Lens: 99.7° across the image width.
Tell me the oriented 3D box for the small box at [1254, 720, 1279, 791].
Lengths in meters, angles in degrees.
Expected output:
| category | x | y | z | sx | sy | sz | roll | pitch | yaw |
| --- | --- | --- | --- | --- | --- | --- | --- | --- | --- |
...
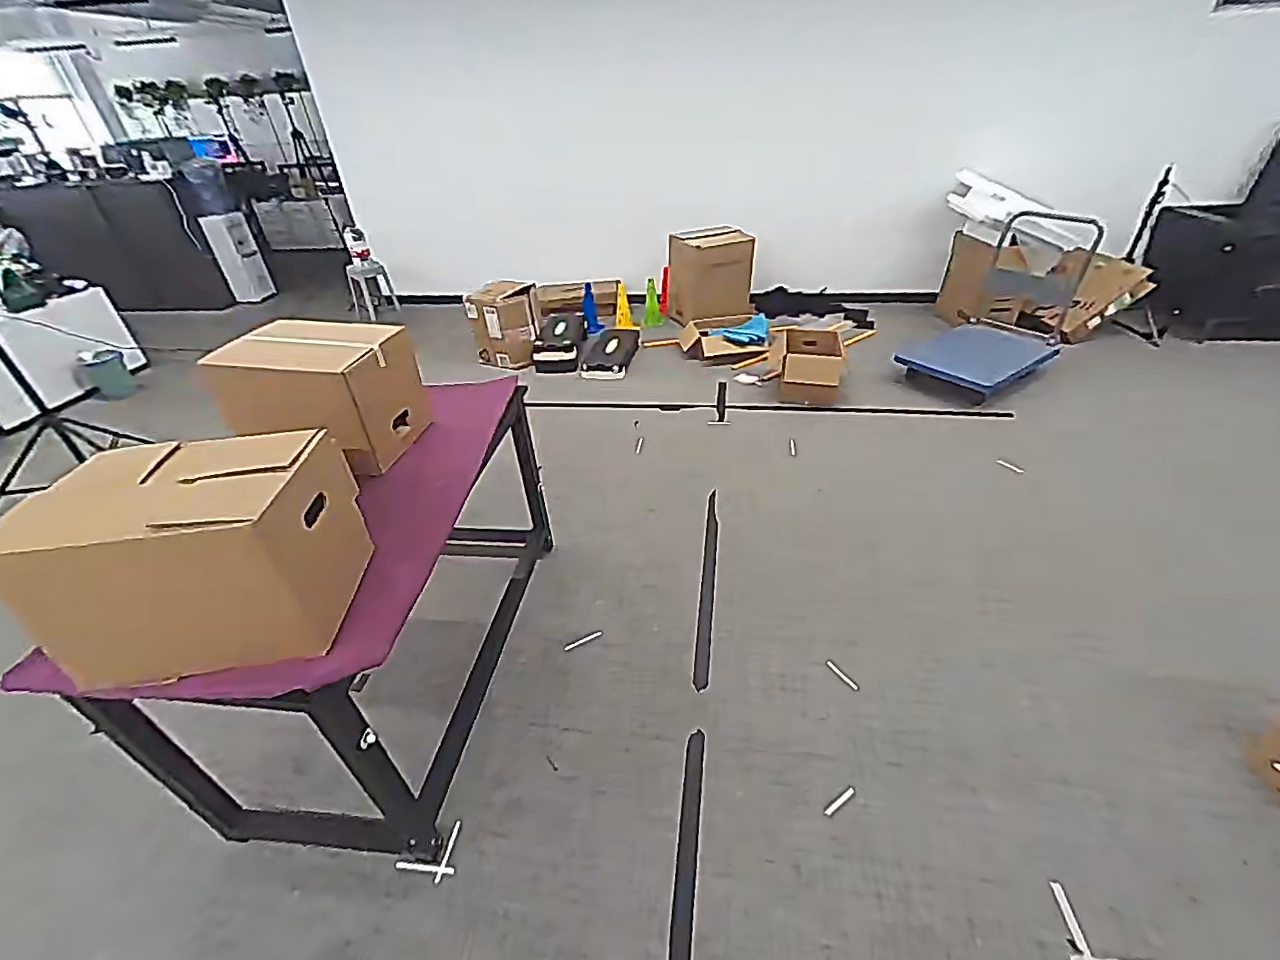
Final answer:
| category | x | y | z | sx | sy | sz | roll | pitch | yaw |
| --- | --- | --- | --- | --- | --- | --- | --- | --- | --- |
| small box | 1.719 | 0.720 | 1.352 | 0.179 | 0.176 | 0.168 | 0 | 36 | 5 |
